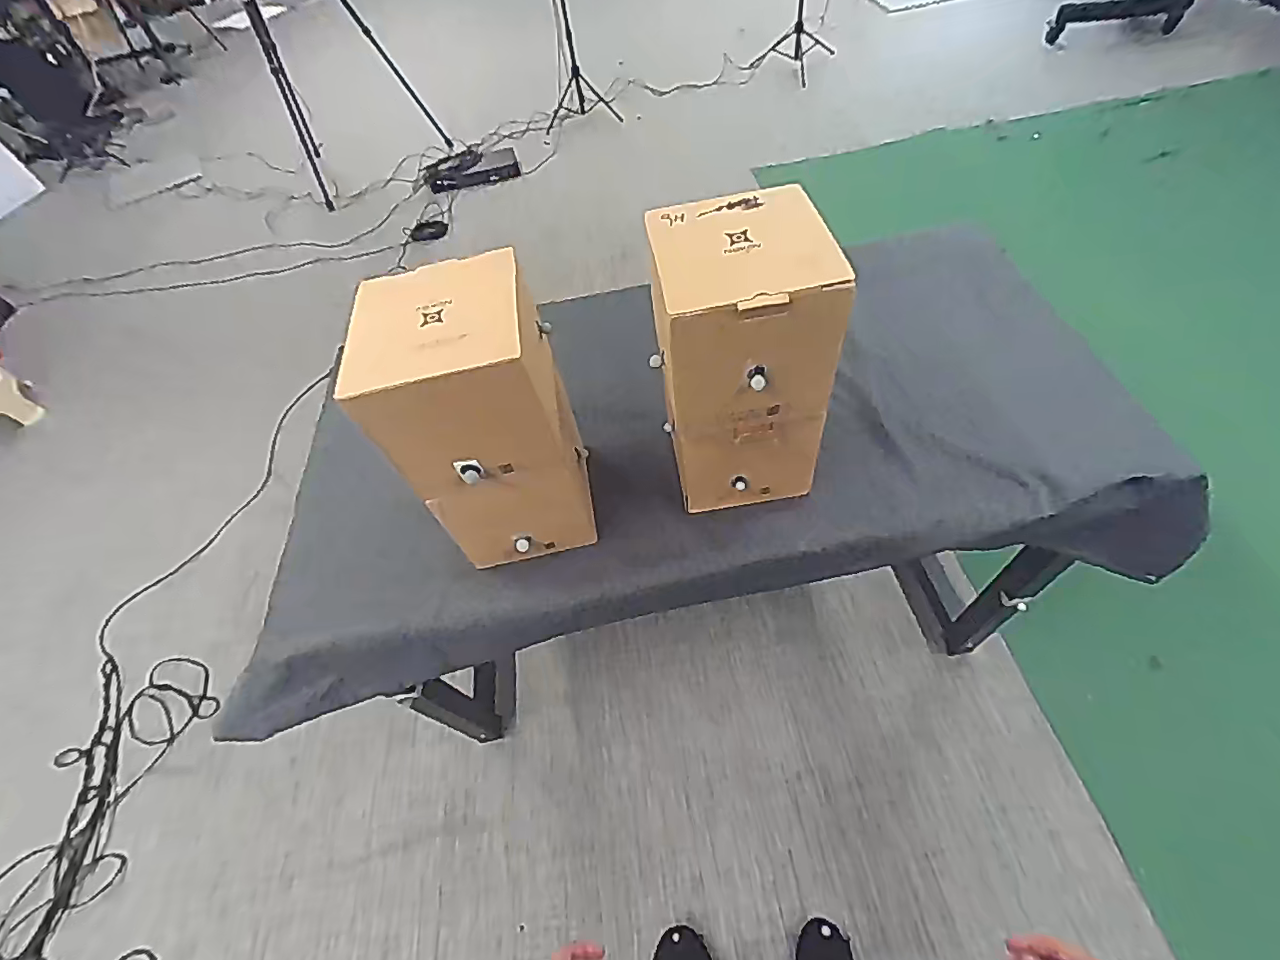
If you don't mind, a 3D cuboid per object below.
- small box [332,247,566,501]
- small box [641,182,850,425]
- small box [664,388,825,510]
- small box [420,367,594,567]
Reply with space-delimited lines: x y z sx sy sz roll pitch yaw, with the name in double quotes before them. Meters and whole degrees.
"small box" -0.182 -0.106 0.564 0.168 0.176 0.179 -14 55 0
"small box" 0.100 -0.174 0.570 0.168 0.176 0.179 -10 55 2
"small box" 0.122 -0.086 0.706 0.168 0.176 0.179 -10 54 1
"small box" -0.162 -0.013 0.696 0.168 0.176 0.179 -13 55 0
